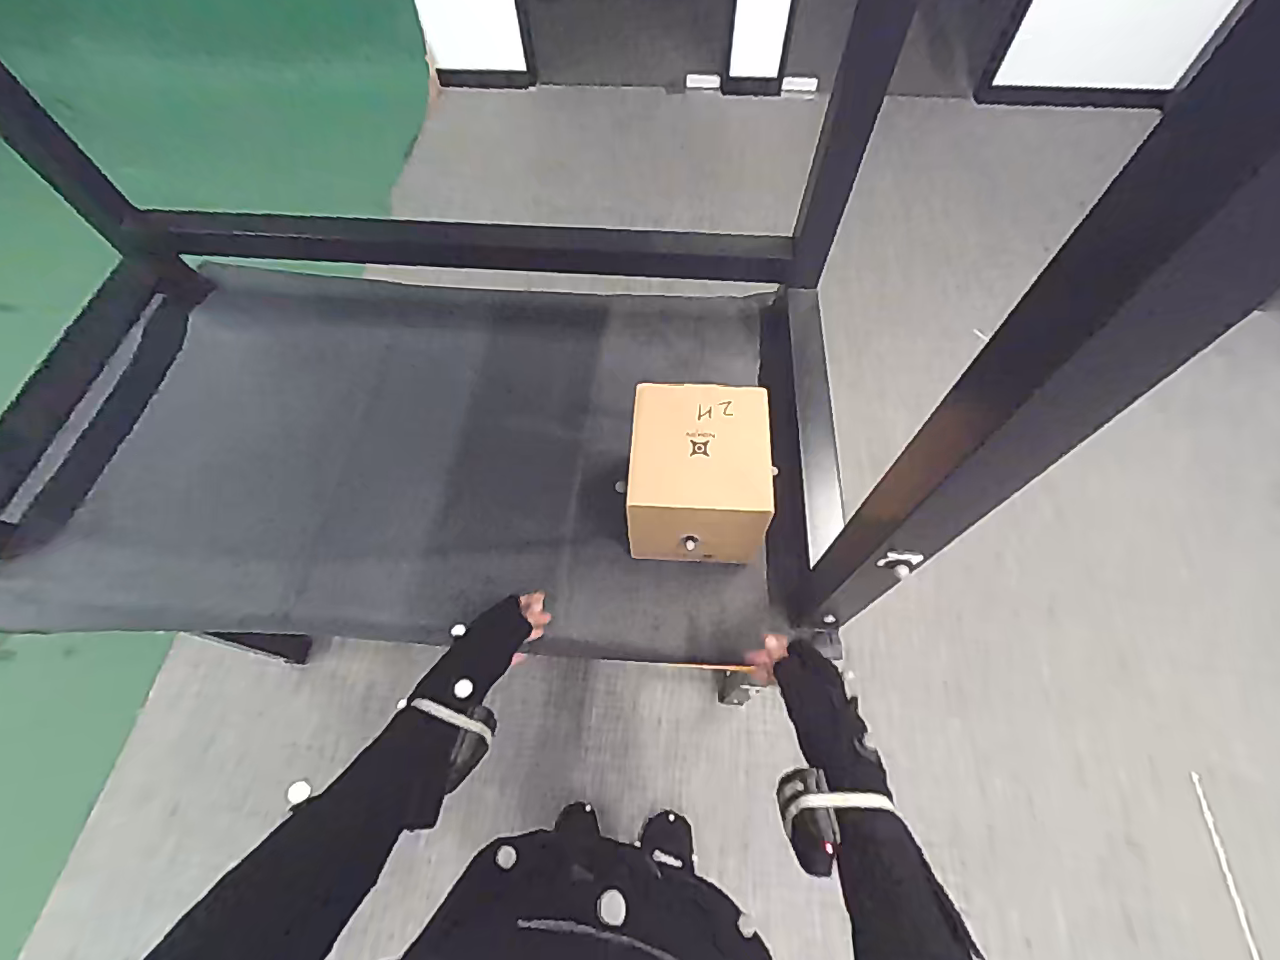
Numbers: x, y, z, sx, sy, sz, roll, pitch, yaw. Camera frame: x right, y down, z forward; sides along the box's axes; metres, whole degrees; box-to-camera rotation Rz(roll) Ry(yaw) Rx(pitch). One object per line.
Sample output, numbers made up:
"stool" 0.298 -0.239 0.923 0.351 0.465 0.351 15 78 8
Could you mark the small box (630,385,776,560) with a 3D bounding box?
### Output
"small box" 0.079 -0.003 0.710 0.168 0.176 0.179 2 61 3
